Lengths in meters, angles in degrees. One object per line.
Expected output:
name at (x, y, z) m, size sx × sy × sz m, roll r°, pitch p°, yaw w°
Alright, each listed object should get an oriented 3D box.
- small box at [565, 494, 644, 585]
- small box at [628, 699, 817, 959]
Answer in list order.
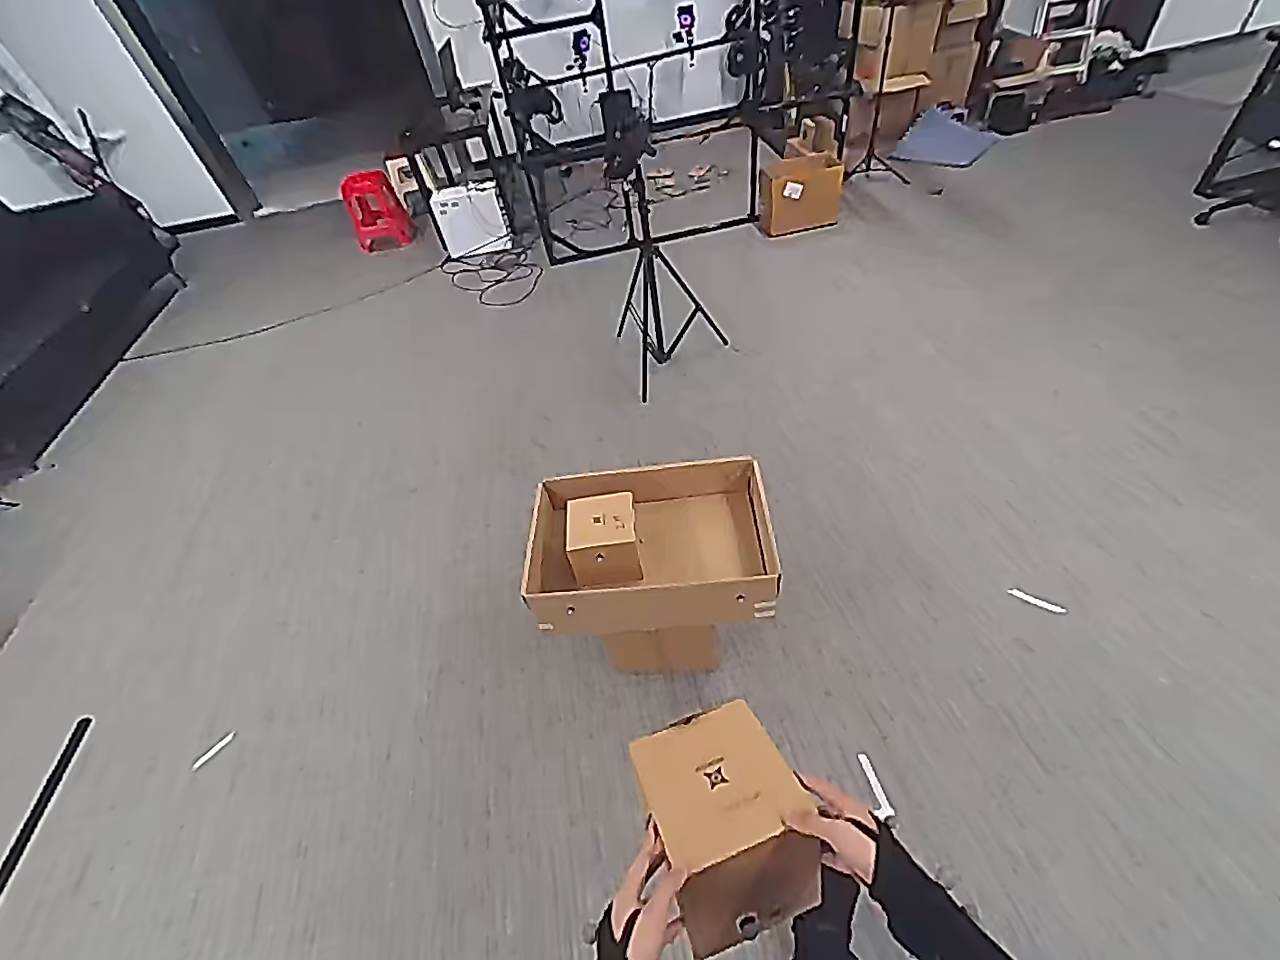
small box at (-0.092, 0.162, 1.425) m, size 0.179 × 0.176 × 0.168 m, roll -8°, pitch 47°, yaw 3°
small box at (0.096, 0.413, 0.657) m, size 0.168 × 0.176 × 0.179 m, roll -16°, pitch 24°, yaw -13°
